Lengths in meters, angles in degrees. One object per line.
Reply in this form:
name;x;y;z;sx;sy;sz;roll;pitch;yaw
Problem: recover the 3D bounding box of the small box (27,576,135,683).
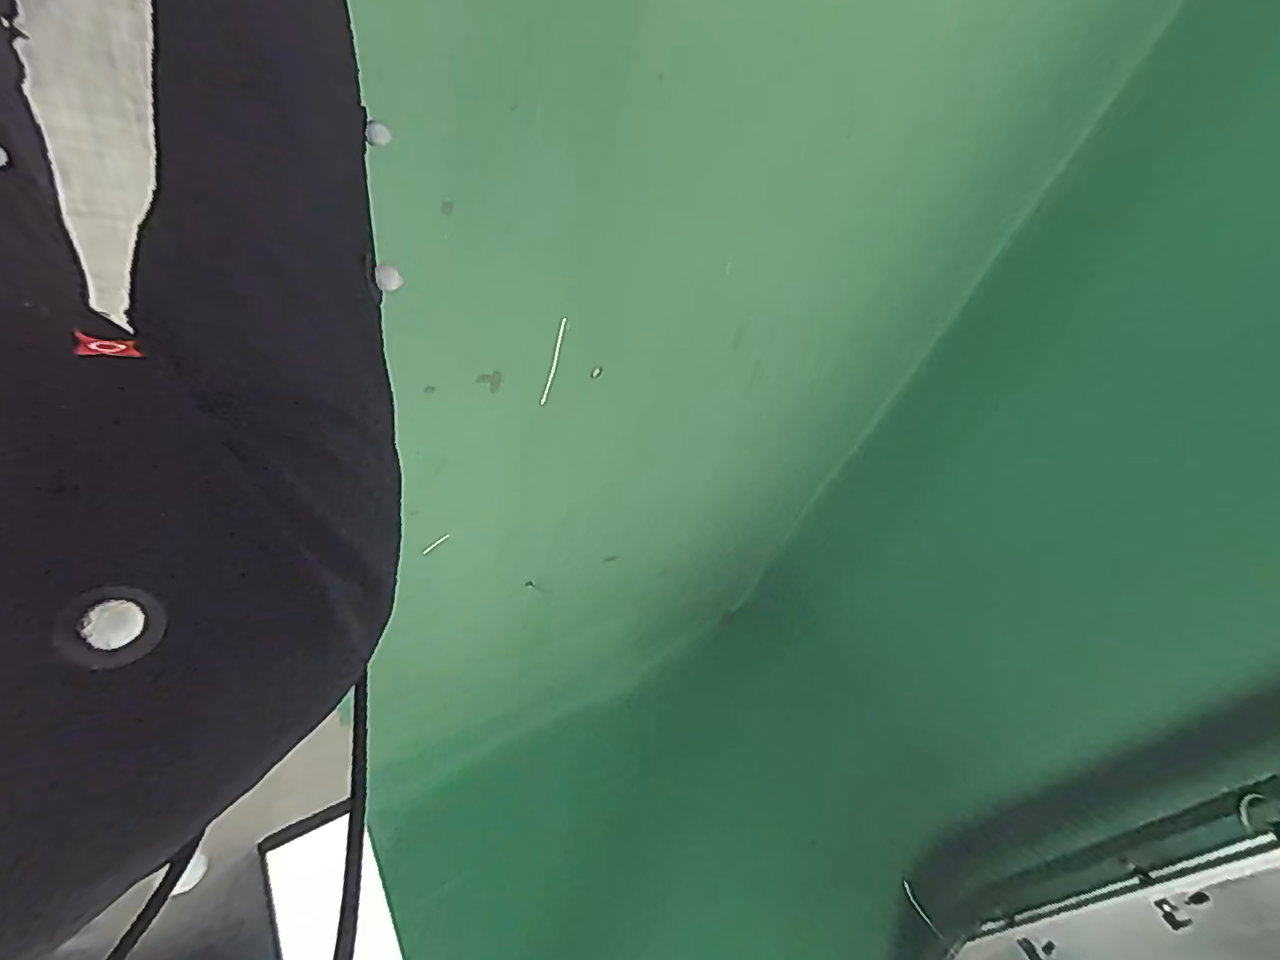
small box;-1.394;0.370;1.359;0.168;0.176;0.179;-8;136;-40
